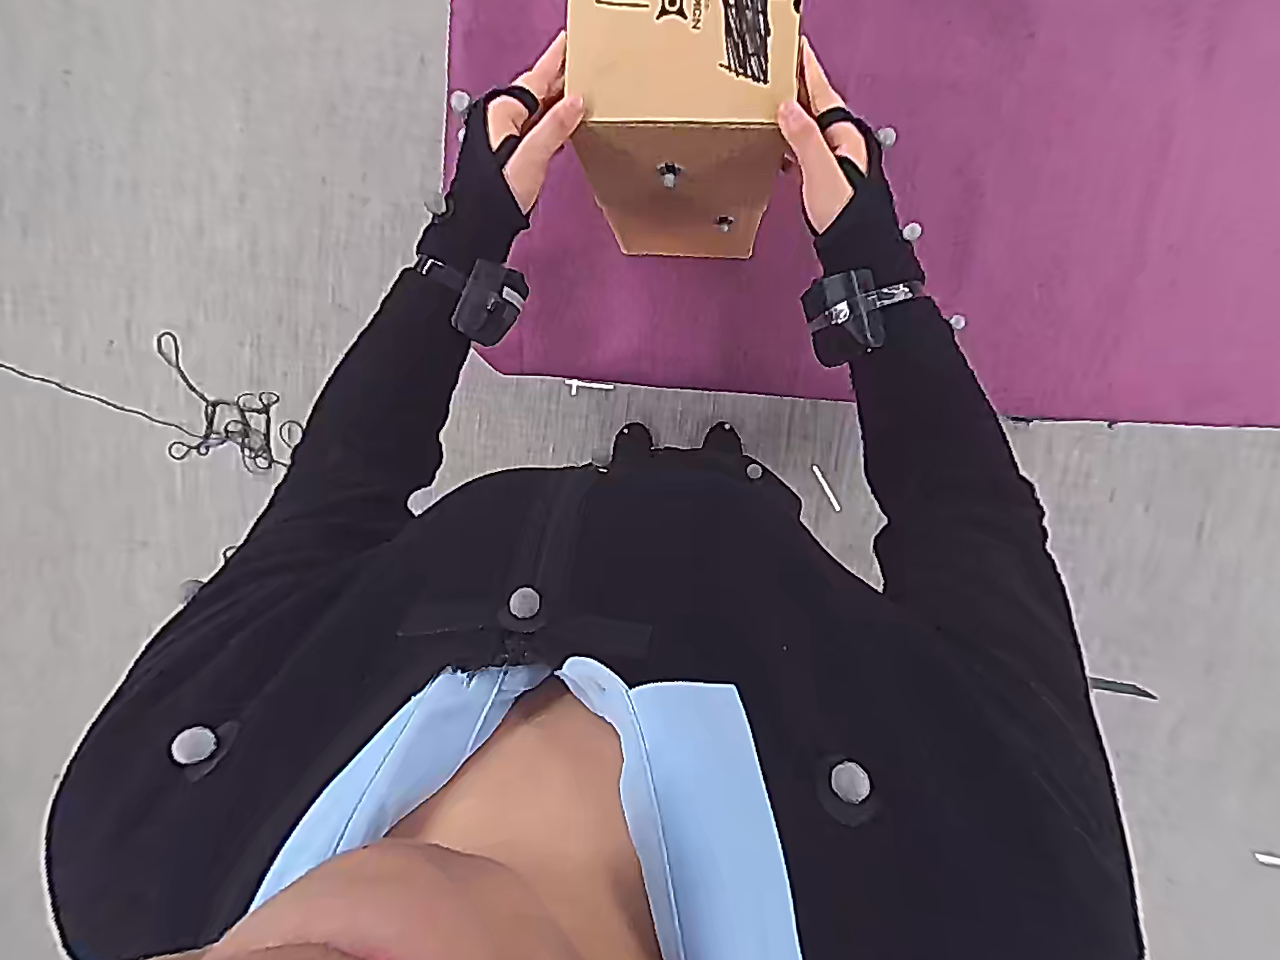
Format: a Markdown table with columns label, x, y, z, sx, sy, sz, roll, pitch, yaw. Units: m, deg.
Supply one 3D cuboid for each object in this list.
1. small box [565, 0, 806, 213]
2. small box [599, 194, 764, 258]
| label | x | y | z | sx | sy | sz | roll | pitch | yaw |
| --- | --- | --- | --- | --- | --- | --- | --- | --- | --- |
| small box | 0.041 | -0.353 | 0.477 | 0.179 | 0.176 | 0.168 | 4 | 96 | 6 |
| small box | 0.056 | -0.373 | 0.640 | 0.179 | 0.176 | 0.168 | 4 | 96 | 5 |
